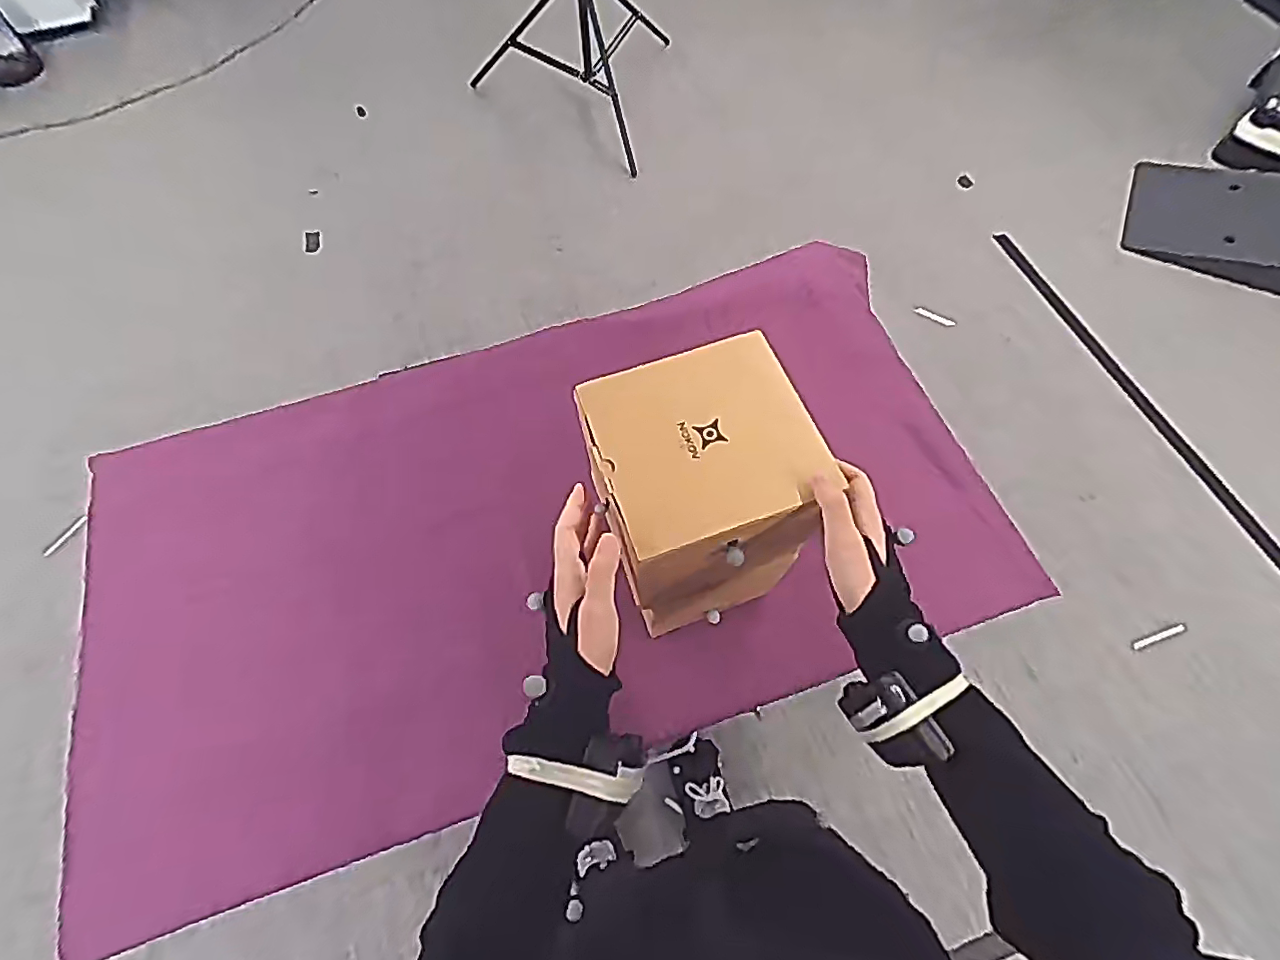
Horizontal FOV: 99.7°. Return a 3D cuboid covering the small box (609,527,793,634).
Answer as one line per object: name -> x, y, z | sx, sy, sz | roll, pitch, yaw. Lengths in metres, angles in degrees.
small box -> 0.057, 0.069, 0.659 | 0.168, 0.176, 0.179 | -19, 67, -7

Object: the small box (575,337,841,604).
small box -> 0.052, 0.001, 0.511 | 0.179, 0.176, 0.168 | -19, 66, -6
